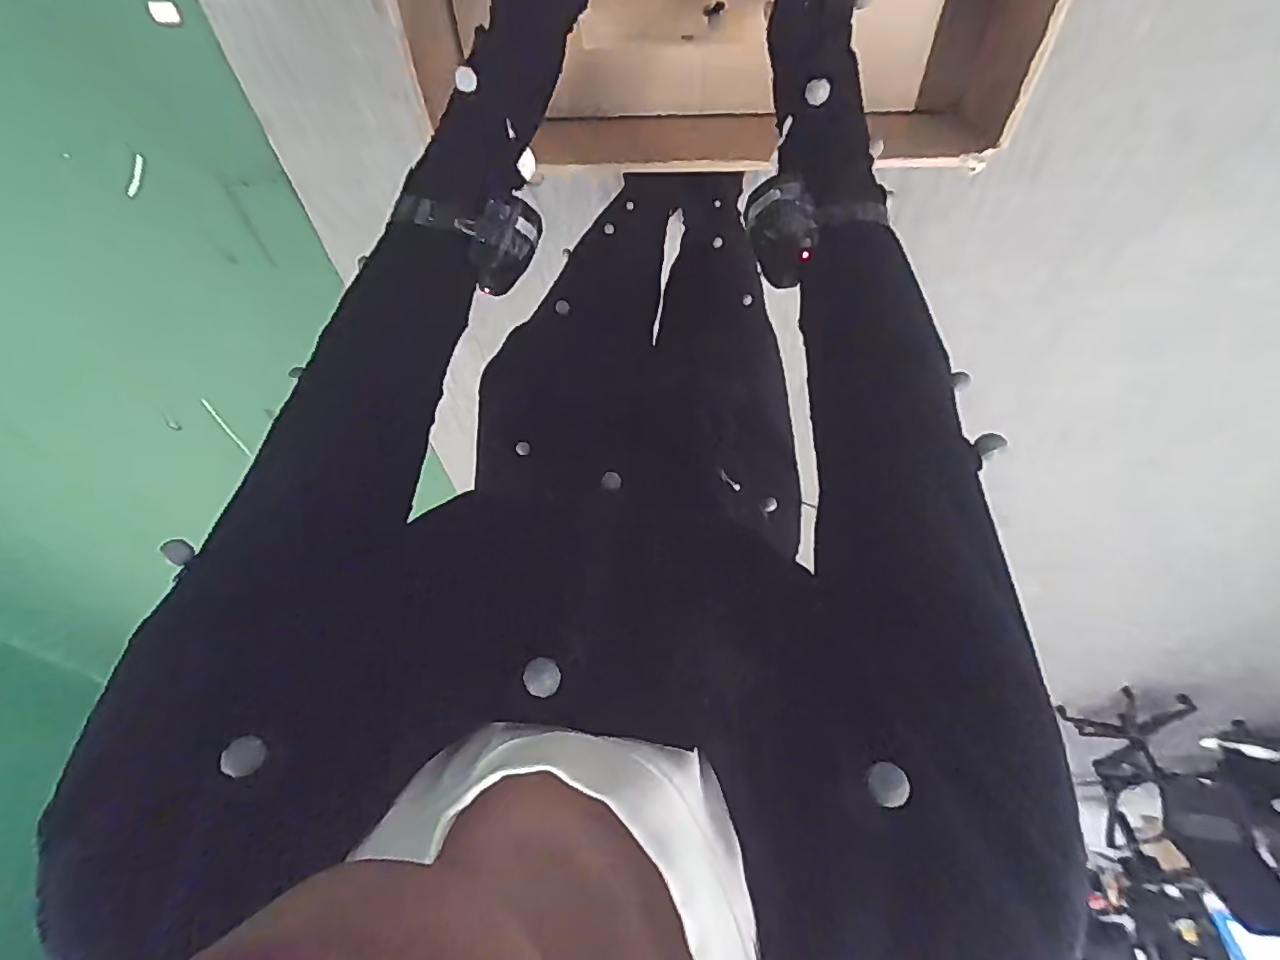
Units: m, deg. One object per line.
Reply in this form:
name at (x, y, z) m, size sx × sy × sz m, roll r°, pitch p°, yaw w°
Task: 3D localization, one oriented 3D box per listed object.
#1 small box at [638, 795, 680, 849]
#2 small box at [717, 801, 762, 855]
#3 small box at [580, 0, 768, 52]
small box at (0.083, 1.448, 2.287) m, size 0.168 × 0.176 × 0.179 m, roll -1°, pitch 139°, yaw 7°
small box at (0.412, 1.447, 2.252) m, size 0.179 × 0.176 × 0.168 m, roll -2°, pitch 139°, yaw 9°
small box at (0.030, -0.480, 0.437) m, size 0.168 × 0.176 × 0.179 m, roll -3°, pitch 108°, yaw -4°
